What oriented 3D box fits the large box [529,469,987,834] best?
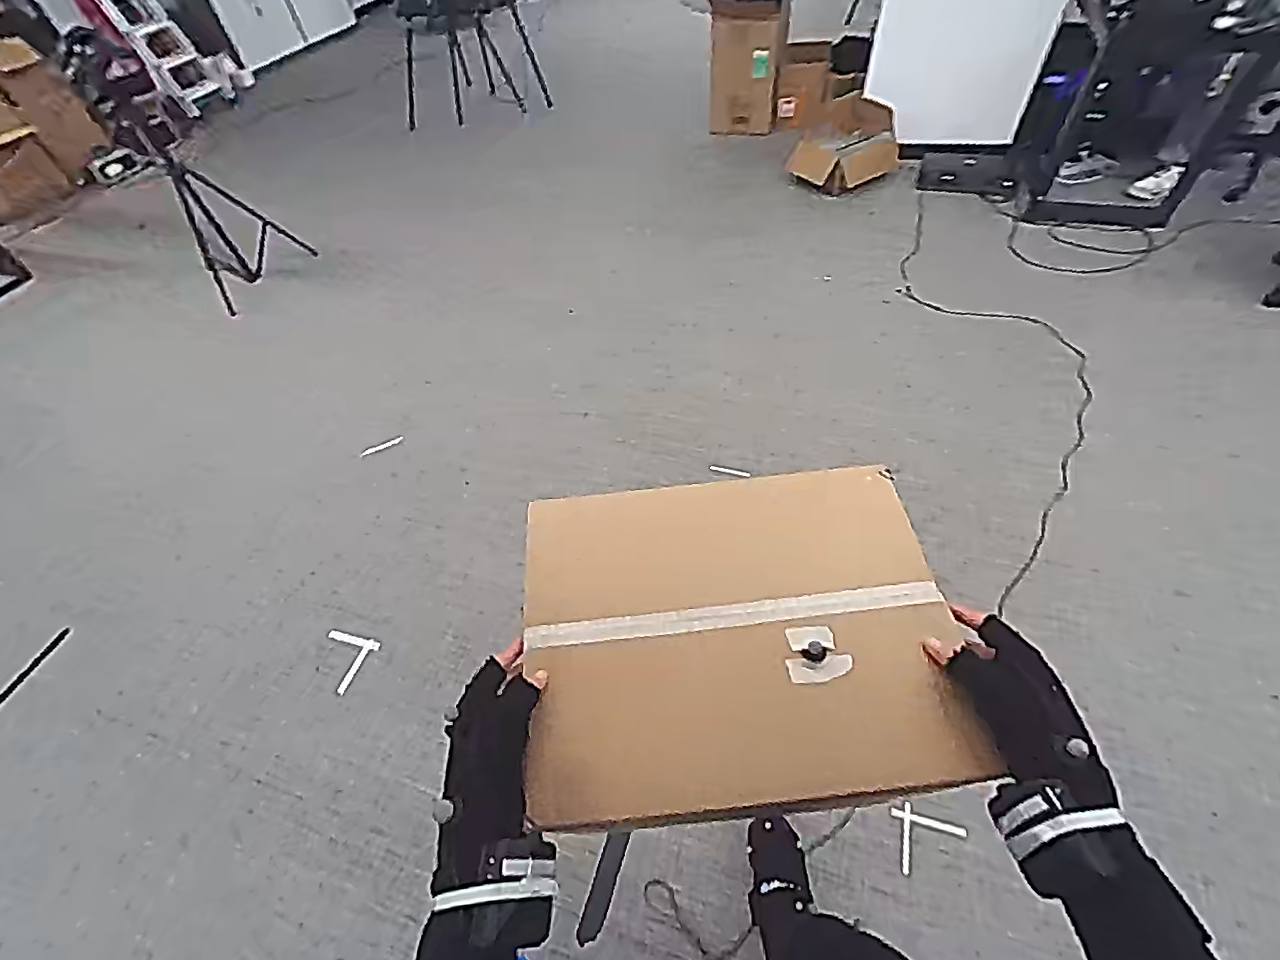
[{"bbox_3d":[0.093,0.221,0.663,0.408,0.320,0.320,-7,56,-1],"label":"large box"}]
